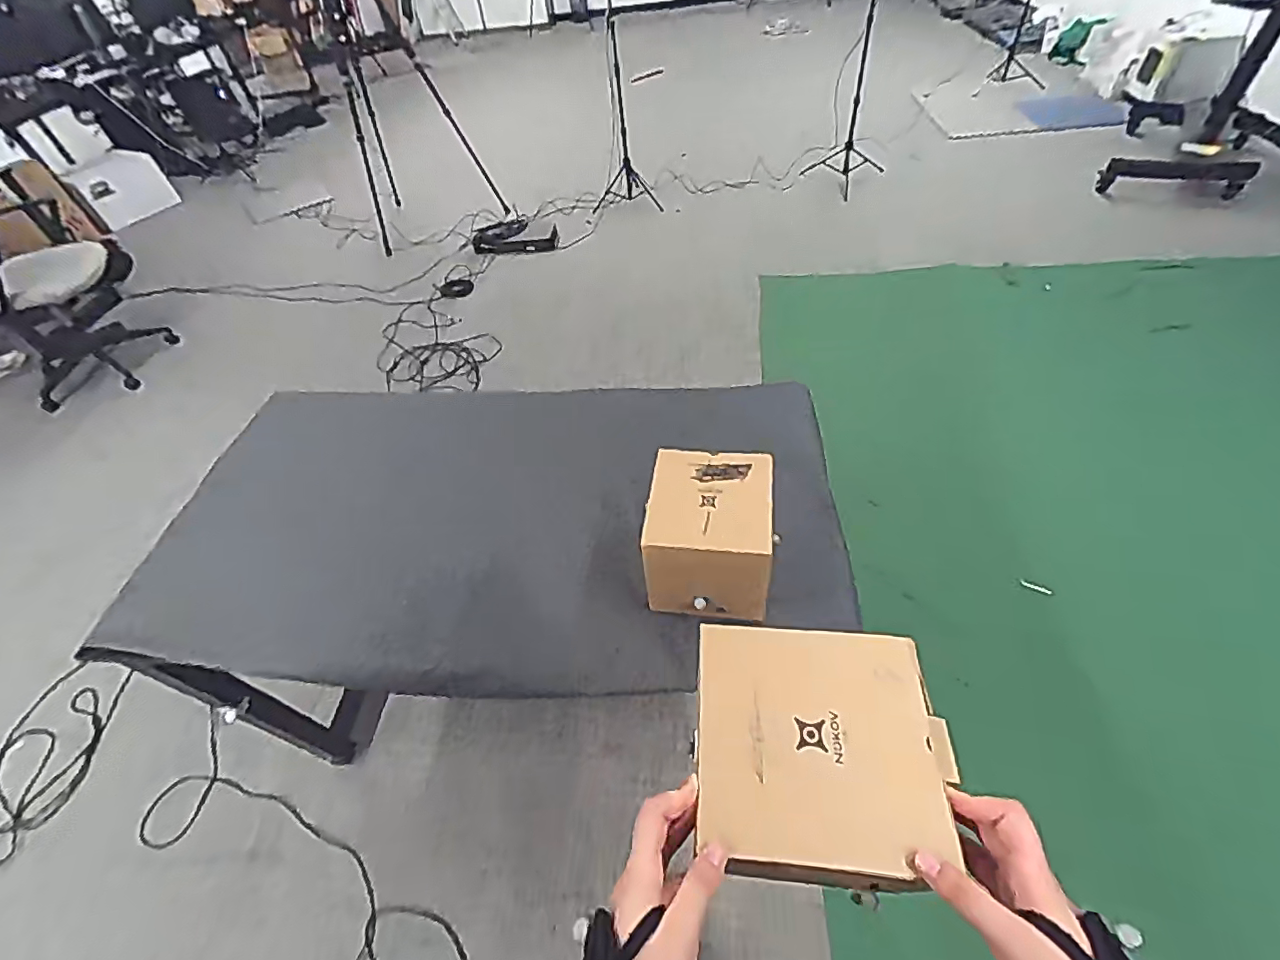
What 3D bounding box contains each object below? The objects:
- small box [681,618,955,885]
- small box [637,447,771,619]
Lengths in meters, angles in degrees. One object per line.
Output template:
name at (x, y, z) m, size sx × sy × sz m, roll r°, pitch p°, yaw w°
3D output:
small box at (0.126, 0.232, 0.459) m, size 0.179 × 0.176 × 0.168 m, roll 0°, pitch 50°, yaw 7°
small box at (0.097, 0.075, 0.778) m, size 0.168 × 0.176 × 0.179 m, roll 3°, pitch 48°, yaw 11°
